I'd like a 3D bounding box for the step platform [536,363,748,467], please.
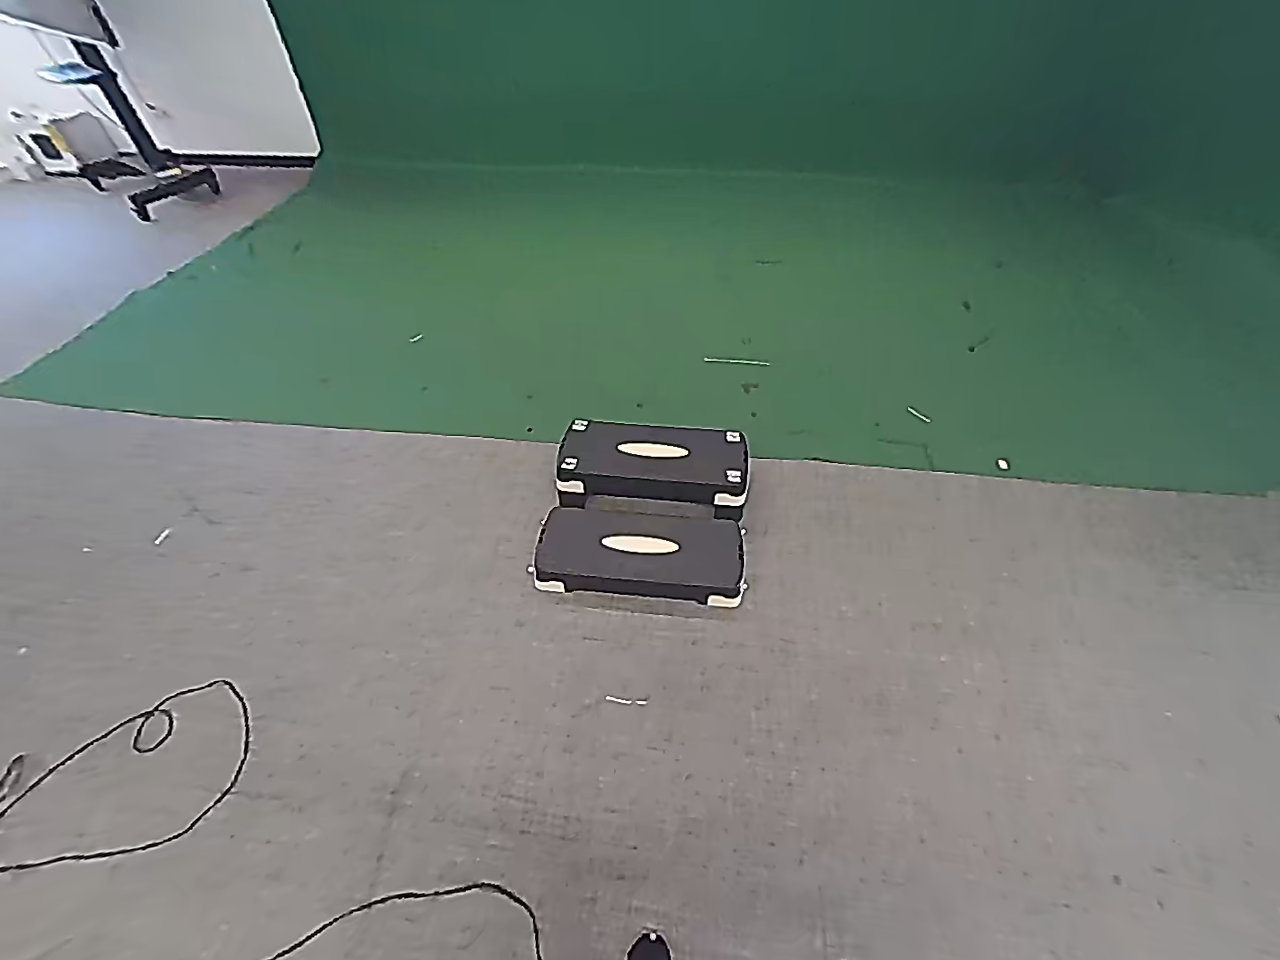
[{"bbox_3d":[0.009,-0.219,1.824,0.684,0.204,0.286,4,48,5],"label":"step platform"}]
